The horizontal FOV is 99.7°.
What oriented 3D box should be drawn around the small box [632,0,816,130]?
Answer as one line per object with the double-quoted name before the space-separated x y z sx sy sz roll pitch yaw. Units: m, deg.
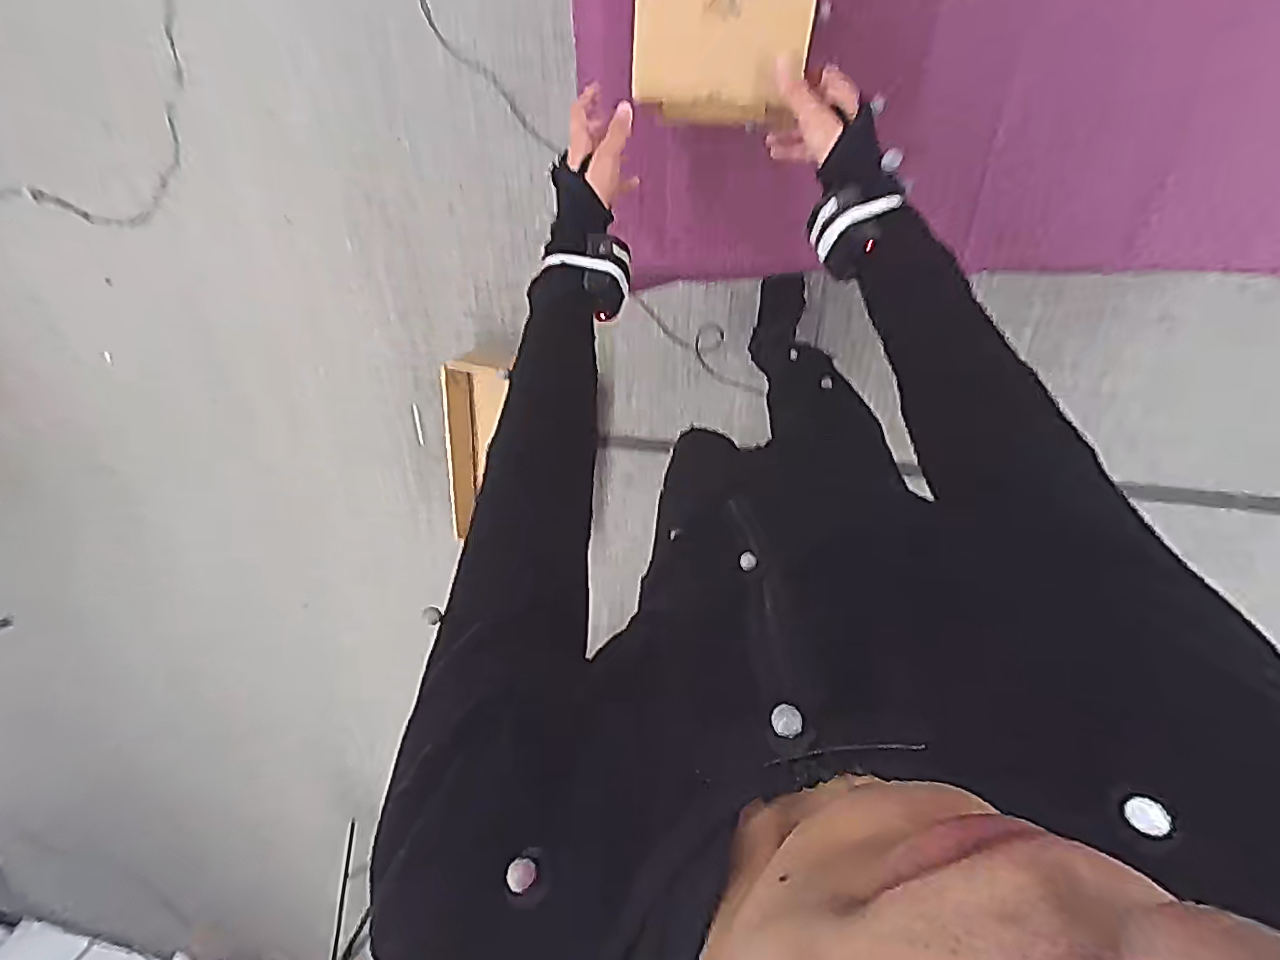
"small box" 0.094 -0.477 0.560 0.168 0.176 0.179 9 117 8
